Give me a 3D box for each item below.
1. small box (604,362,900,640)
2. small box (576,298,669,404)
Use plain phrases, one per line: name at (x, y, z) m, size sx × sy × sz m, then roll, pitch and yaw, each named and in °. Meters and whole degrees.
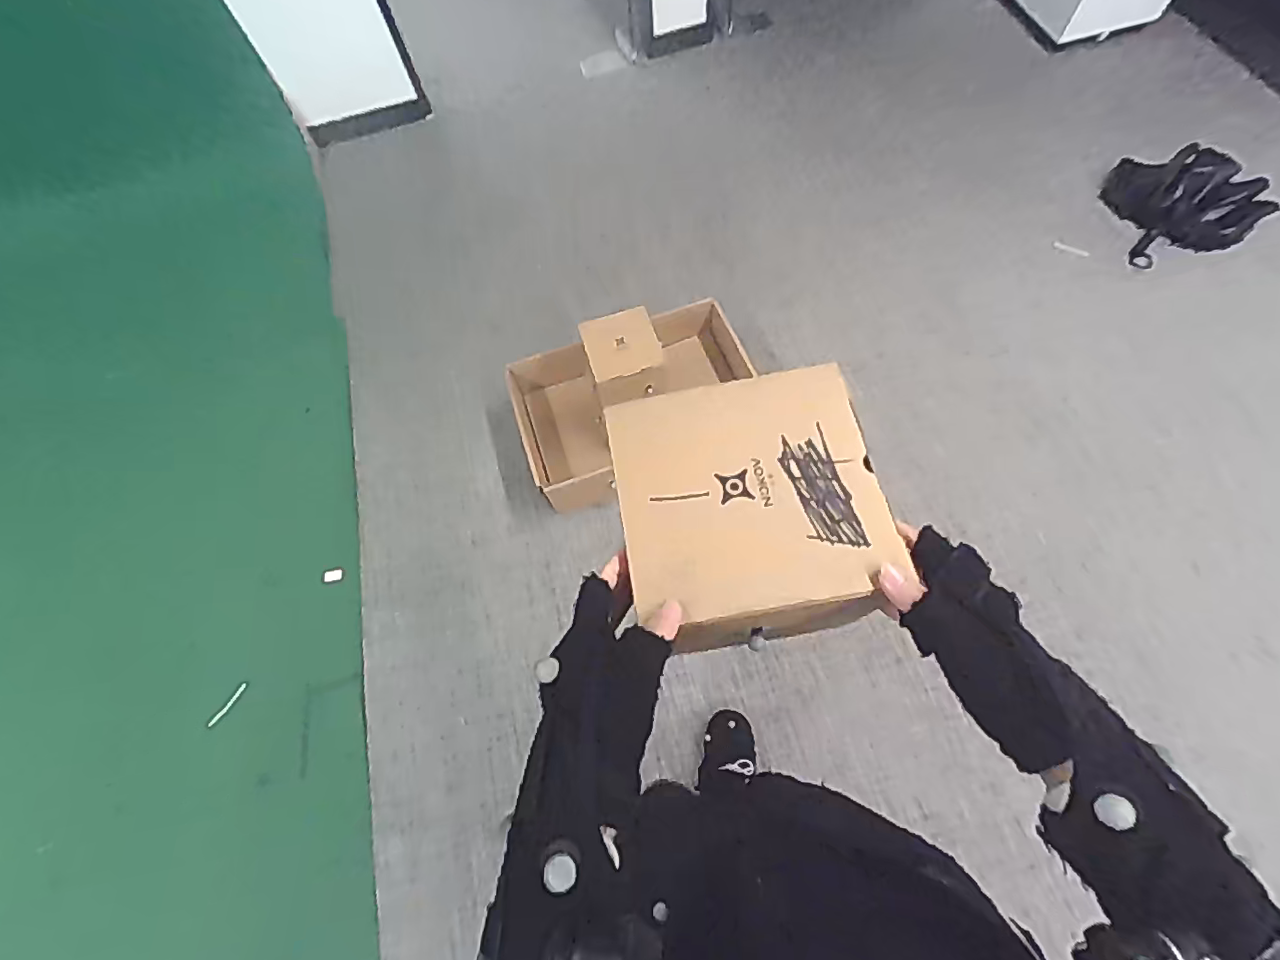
small box at (0.075, 0.030, 0.446) m, size 0.179 × 0.176 × 0.168 m, roll -11°, pitch 67°, yaw 2°
small box at (-0.035, -0.291, 1.290) m, size 0.168 × 0.176 × 0.179 m, roll -21°, pitch 68°, yaw -4°
